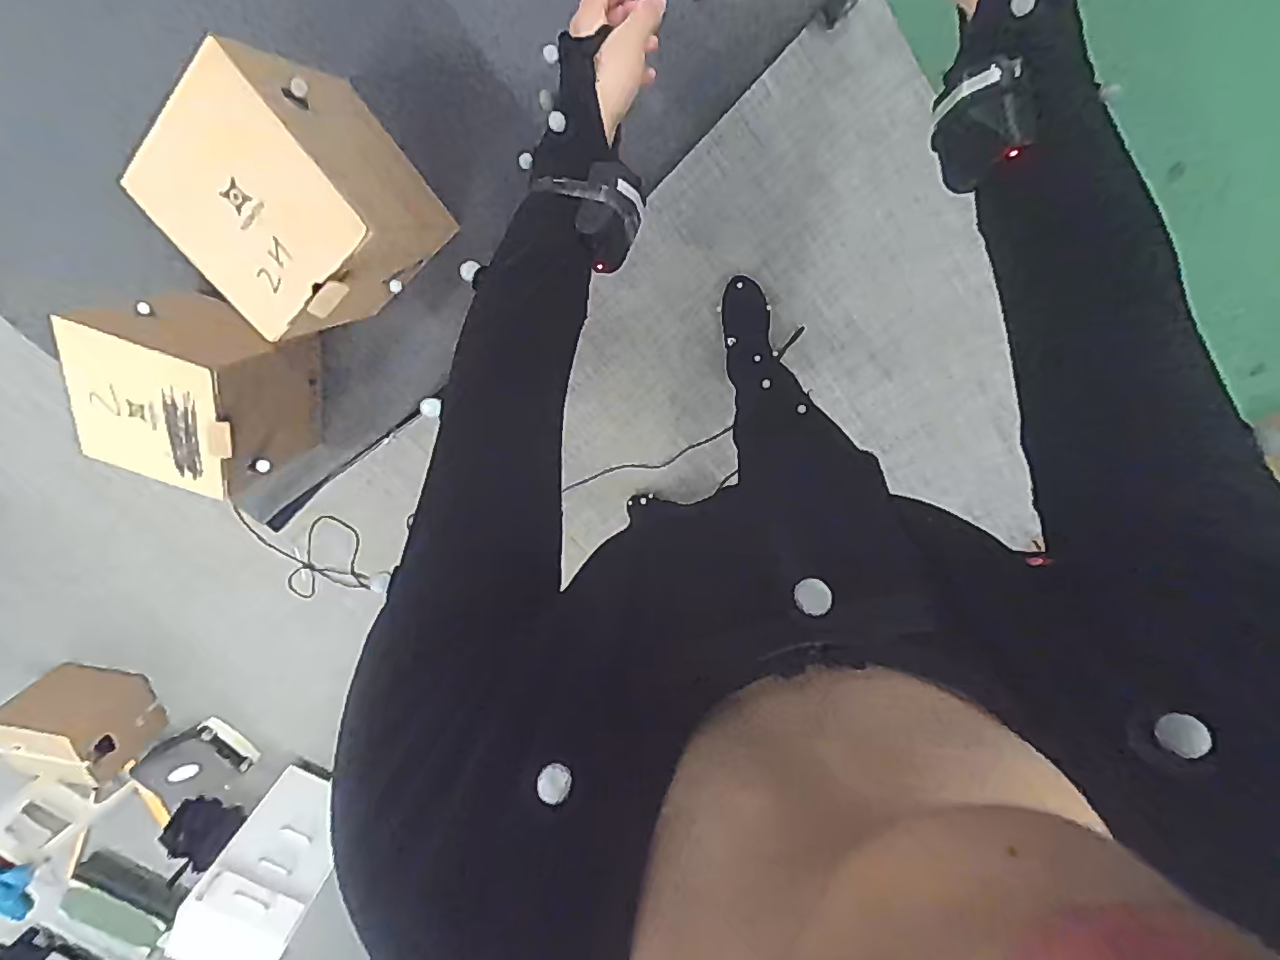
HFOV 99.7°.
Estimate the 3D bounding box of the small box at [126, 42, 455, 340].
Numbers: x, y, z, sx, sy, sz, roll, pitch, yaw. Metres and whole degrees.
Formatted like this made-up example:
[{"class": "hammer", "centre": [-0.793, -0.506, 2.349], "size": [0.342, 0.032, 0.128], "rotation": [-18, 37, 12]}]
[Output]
[{"class": "small box", "centre": [-0.327, -0.270, 0.539], "size": [0.168, 0.176, 0.179], "rotation": [-32, 107, 23]}]
